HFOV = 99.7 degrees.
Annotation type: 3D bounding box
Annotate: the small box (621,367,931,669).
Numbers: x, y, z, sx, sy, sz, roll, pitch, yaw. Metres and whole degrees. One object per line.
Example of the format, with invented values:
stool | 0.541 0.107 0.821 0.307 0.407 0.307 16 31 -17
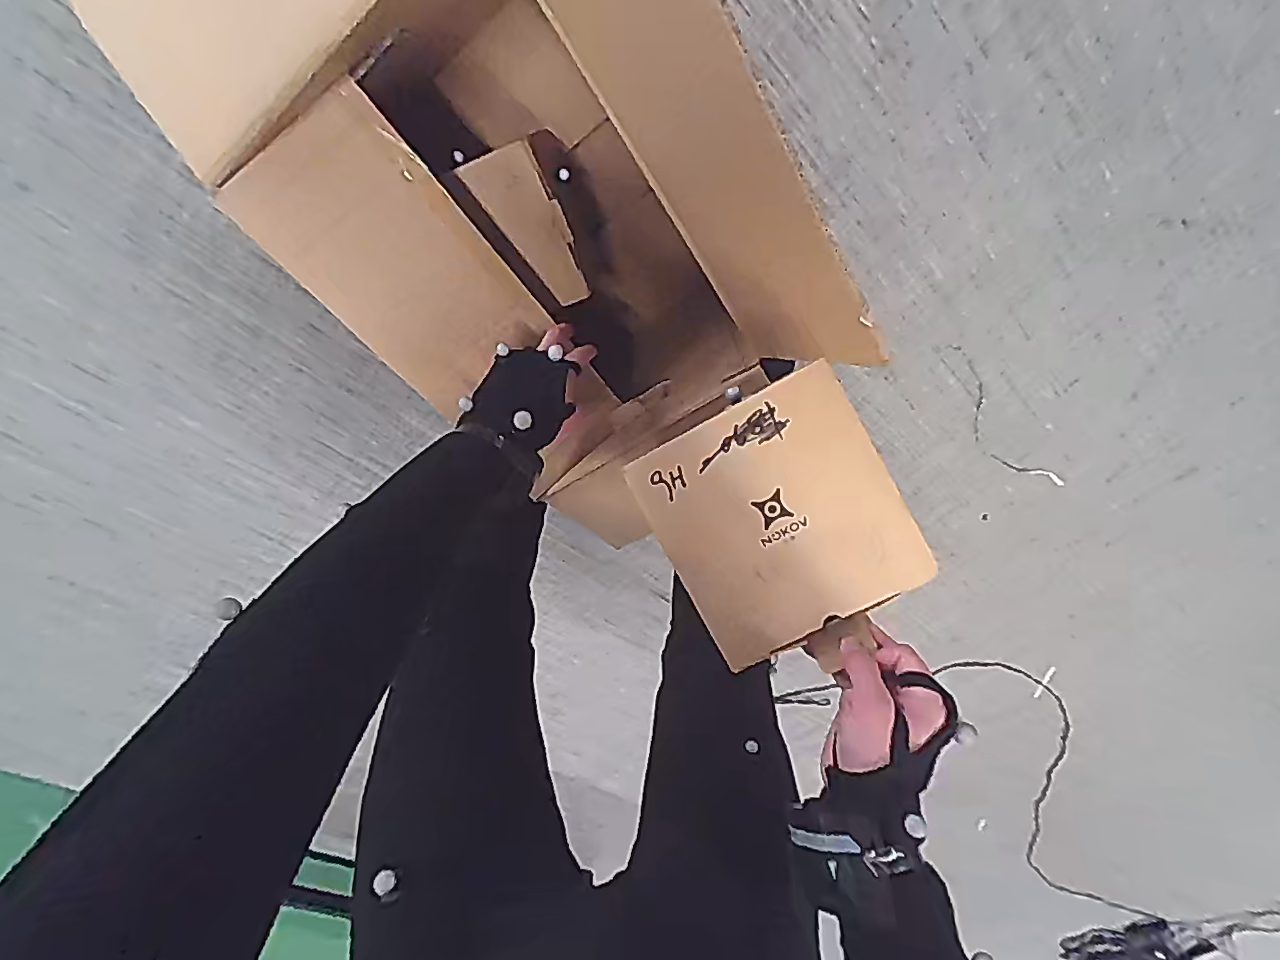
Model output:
small box | 0.110 0.024 0.474 0.168 0.176 0.179 -31 89 10
